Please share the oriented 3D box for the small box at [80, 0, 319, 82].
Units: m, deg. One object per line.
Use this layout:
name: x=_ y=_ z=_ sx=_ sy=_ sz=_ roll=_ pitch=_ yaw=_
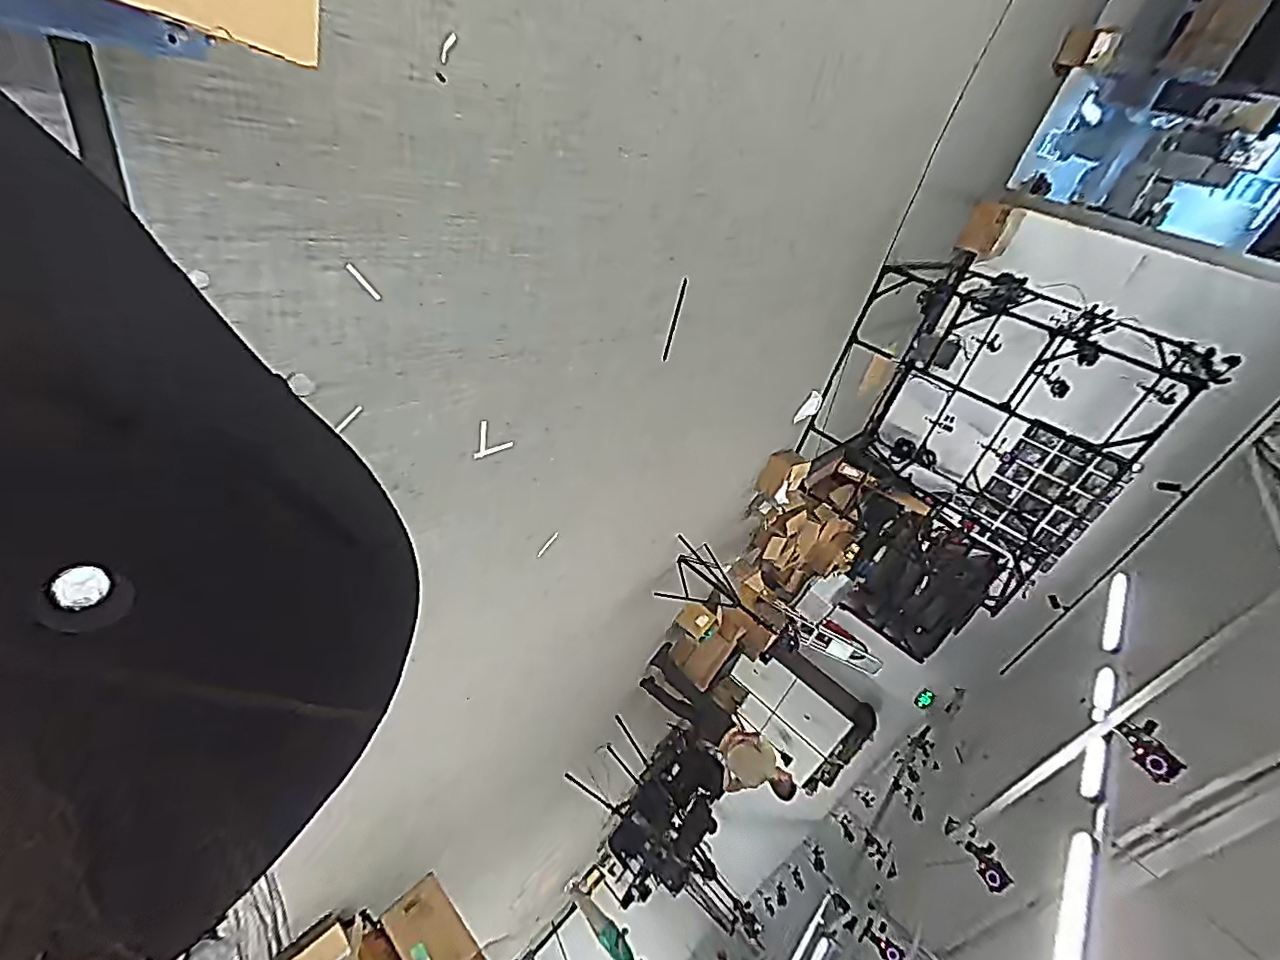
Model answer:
small box: x=-0.423 y=-0.515 z=0.503 sx=0.168 sy=0.176 sz=0.179 roll=-18 pitch=135 yaw=-50
